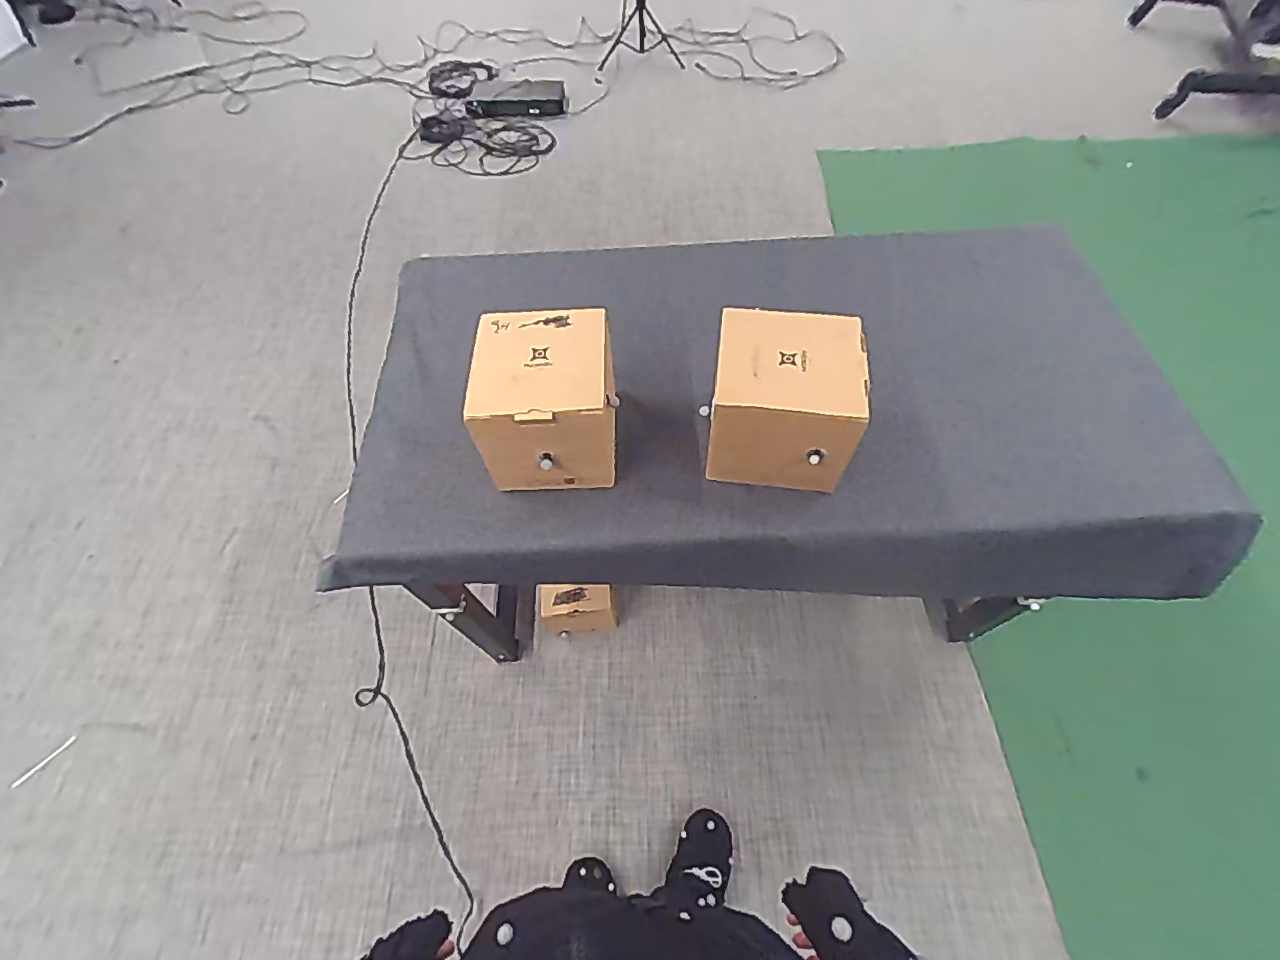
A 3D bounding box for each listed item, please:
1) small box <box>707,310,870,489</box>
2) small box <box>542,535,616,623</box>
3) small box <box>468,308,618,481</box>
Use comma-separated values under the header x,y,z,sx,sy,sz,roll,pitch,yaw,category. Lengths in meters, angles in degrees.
x,y,z,sx,sy,sz,roll,pitch,yaw,category
0.188,-0.101,0.724,0.179,0.176,0.168,6,59,7,small box
-0.150,0.256,1.371,0.168,0.176,0.179,-5,60,-1,small box
-0.117,-0.108,0.736,0.168,0.176,0.179,-1,60,1,small box
